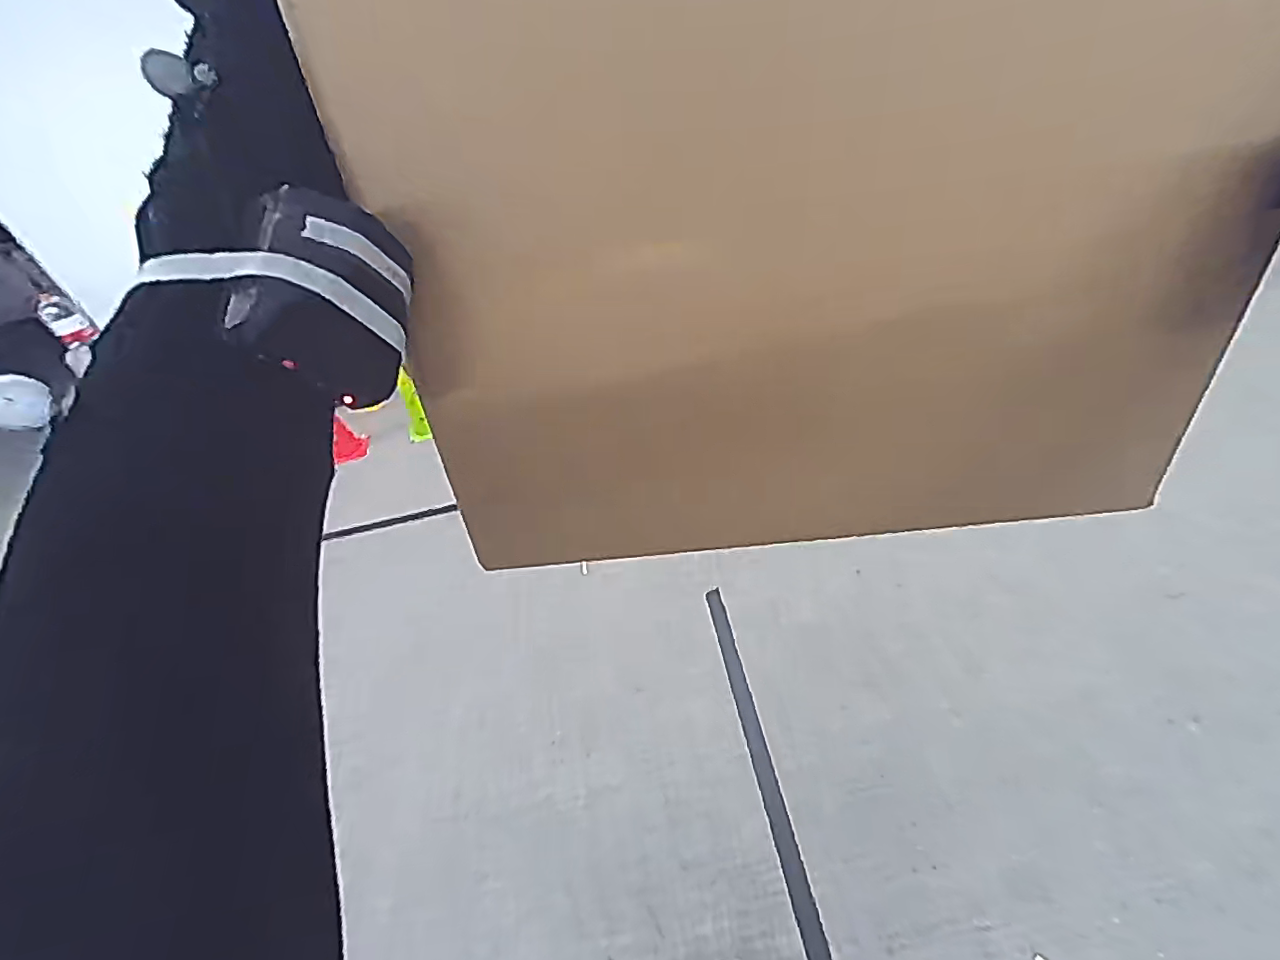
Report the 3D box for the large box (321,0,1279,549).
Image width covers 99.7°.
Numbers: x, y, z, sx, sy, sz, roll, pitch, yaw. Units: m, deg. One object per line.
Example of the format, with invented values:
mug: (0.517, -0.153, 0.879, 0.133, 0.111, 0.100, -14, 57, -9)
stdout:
large box: (0.078, -0.177, 0.388, 0.408, 0.320, 0.320, -5, 33, 2)
